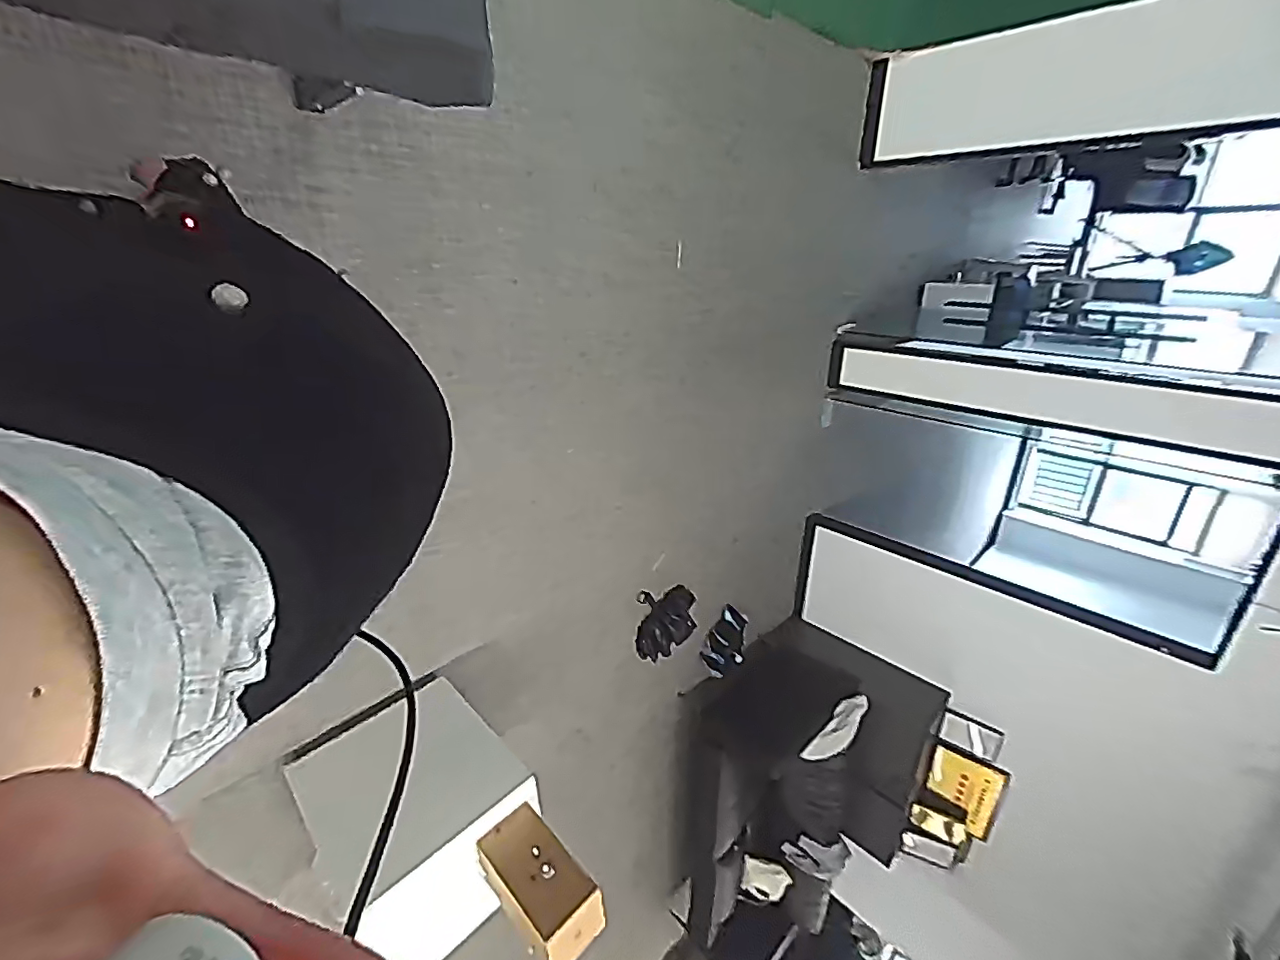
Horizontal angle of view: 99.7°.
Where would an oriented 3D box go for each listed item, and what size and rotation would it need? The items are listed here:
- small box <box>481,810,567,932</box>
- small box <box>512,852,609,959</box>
[{"bbox_3d":[-0.310,1.050,1.468,0.168,0.176,0.179,-24,124,-38],"label":"small box"},{"bbox_3d":[-0.198,1.092,1.356,0.168,0.176,0.179,-27,124,-38],"label":"small box"}]
